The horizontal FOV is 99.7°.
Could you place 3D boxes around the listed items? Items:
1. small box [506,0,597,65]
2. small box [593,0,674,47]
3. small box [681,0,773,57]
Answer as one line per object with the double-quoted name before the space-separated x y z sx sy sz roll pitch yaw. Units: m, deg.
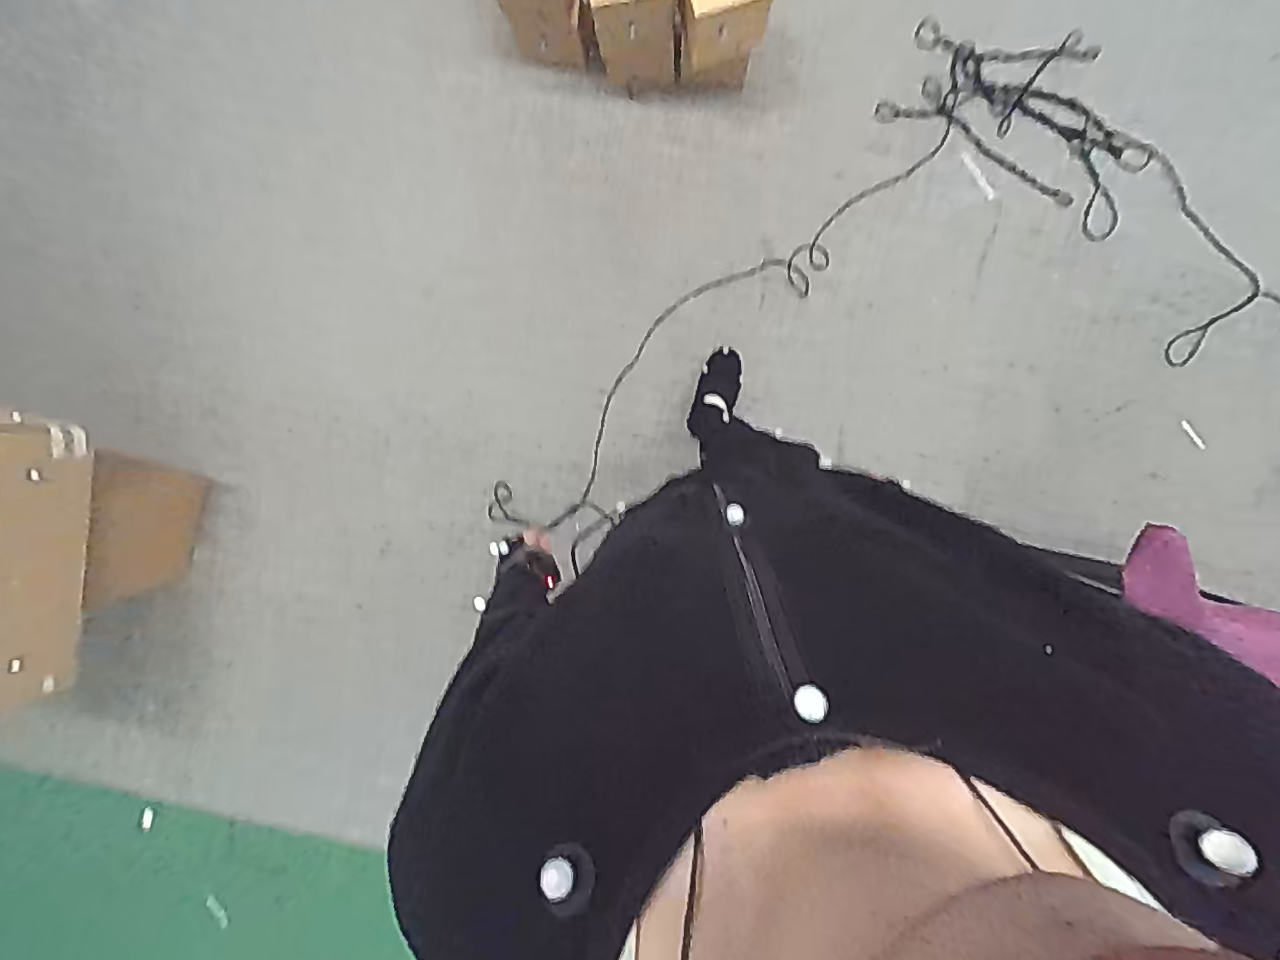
"small box" -0.203 -1.149 1.307 0.179 0.176 0.168 11 96 3
"small box" -0.017 -1.058 1.141 0.168 0.176 0.179 -6 95 4
"small box" 0.179 -1.033 1.129 0.168 0.176 0.179 -14 94 6
